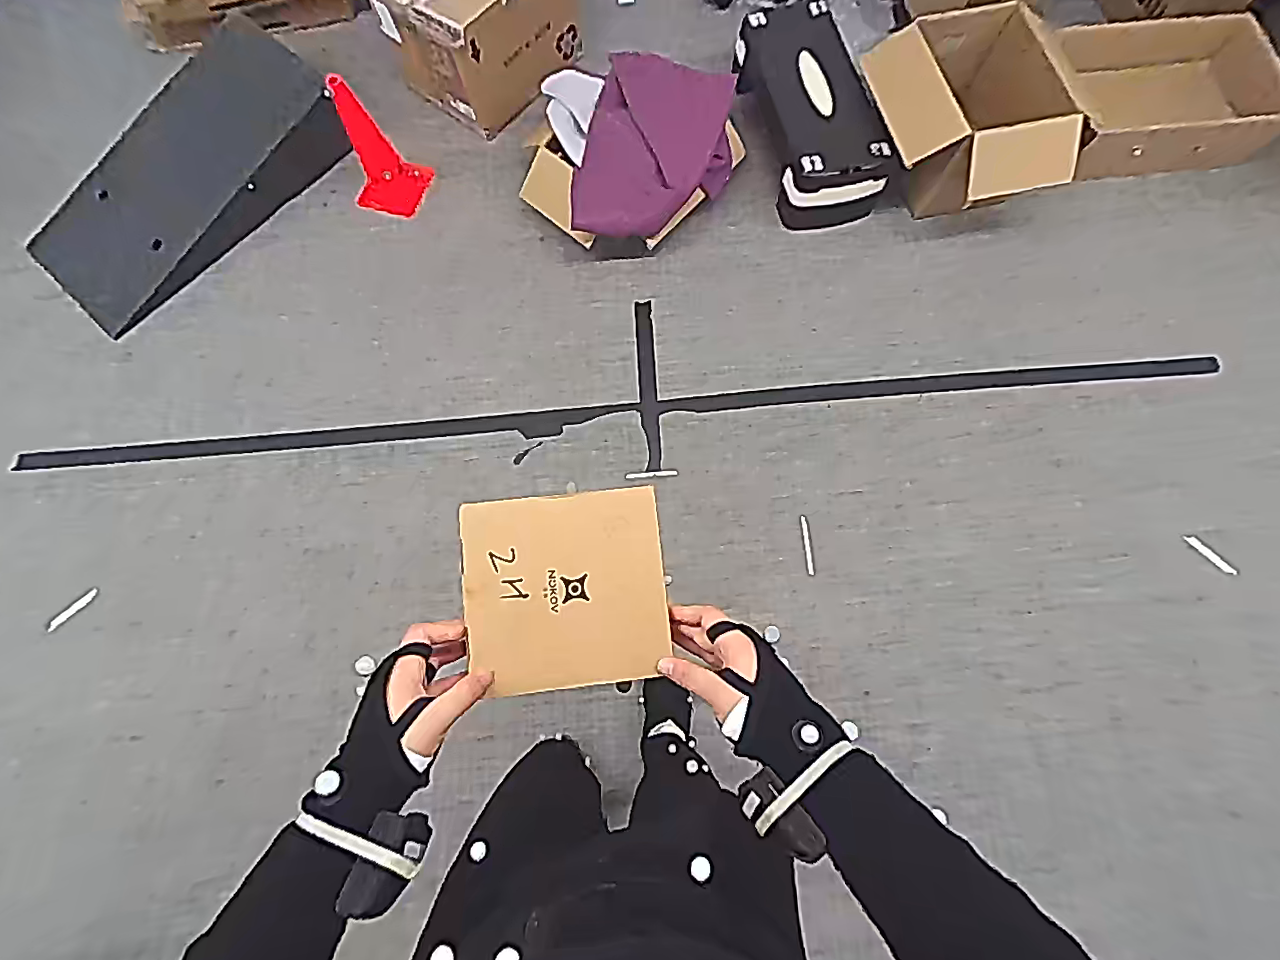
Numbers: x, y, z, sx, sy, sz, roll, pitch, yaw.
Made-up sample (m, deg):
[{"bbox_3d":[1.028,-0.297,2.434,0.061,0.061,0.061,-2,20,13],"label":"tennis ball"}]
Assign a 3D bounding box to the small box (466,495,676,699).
[{"bbox_3d":[-0.067,0.111,0.555,0.179,0.176,0.168,-6,81,-4],"label":"small box"}]
